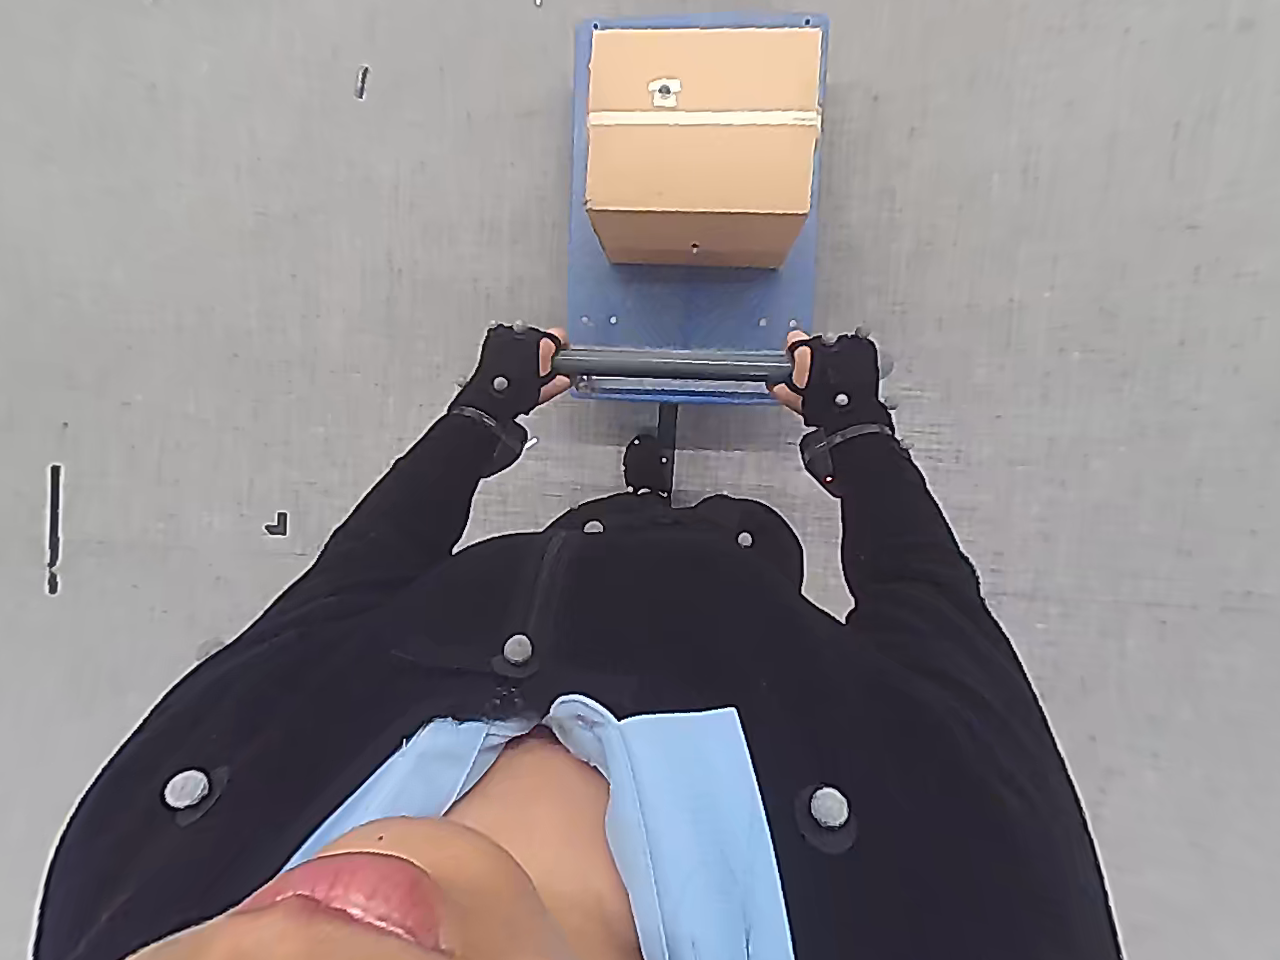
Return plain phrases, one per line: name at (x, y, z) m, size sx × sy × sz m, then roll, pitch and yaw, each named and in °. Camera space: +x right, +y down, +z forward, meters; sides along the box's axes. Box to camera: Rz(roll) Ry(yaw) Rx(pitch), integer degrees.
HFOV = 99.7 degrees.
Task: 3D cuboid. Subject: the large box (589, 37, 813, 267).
large box at (0.122, -0.648, 1.131) m, size 0.408 × 0.320 × 0.320 m, roll 3°, pitch 93°, yaw 6°
